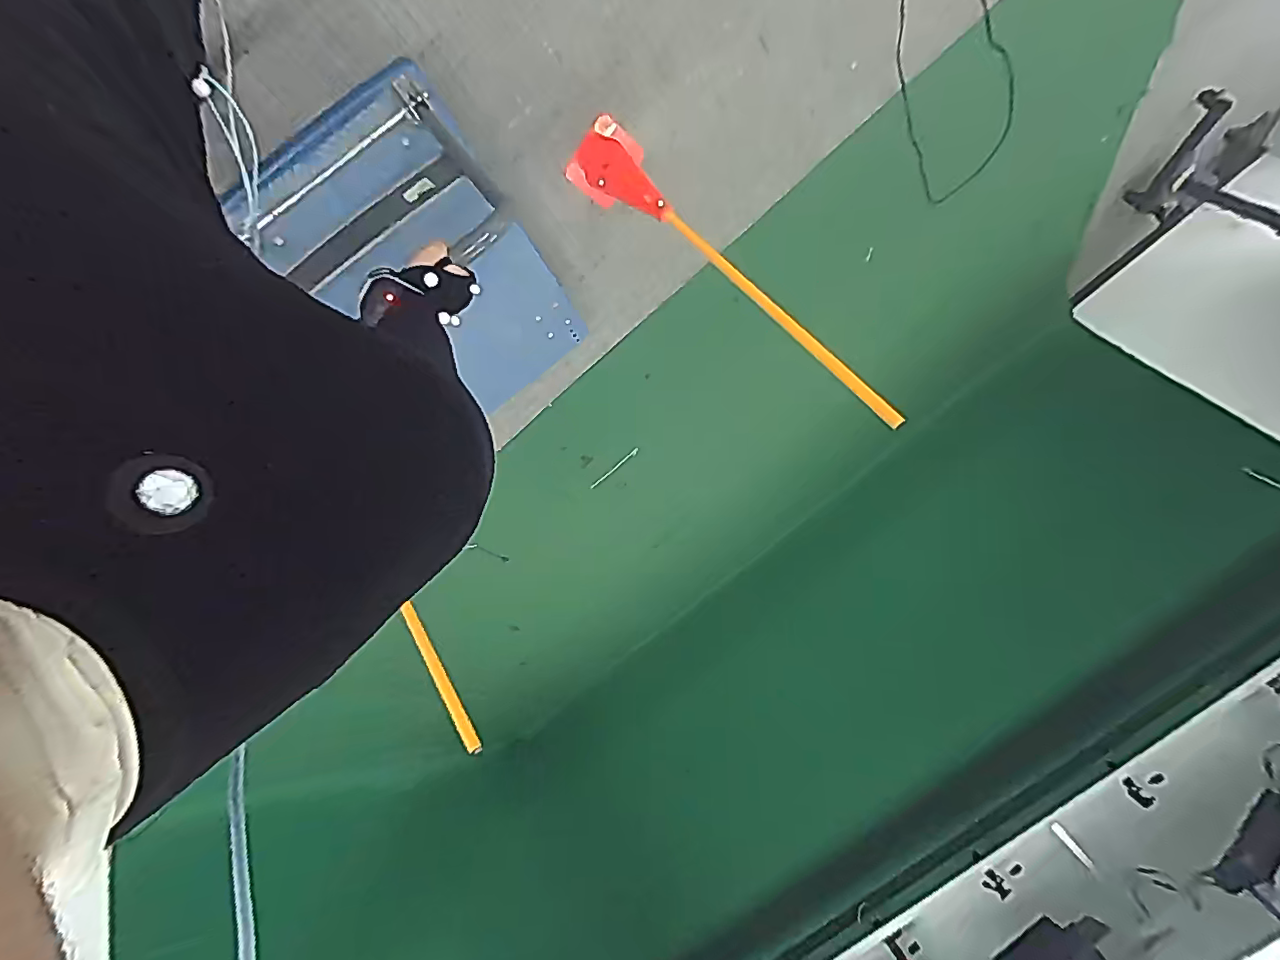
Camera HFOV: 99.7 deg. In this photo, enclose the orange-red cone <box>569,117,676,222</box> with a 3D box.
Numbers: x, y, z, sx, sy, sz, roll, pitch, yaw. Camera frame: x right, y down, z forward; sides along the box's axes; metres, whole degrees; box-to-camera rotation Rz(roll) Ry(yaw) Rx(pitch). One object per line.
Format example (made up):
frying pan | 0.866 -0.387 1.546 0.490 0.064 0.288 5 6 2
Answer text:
orange-red cone | -0.010 -0.818 1.512 0.199 0.360 0.198 -49 147 18
